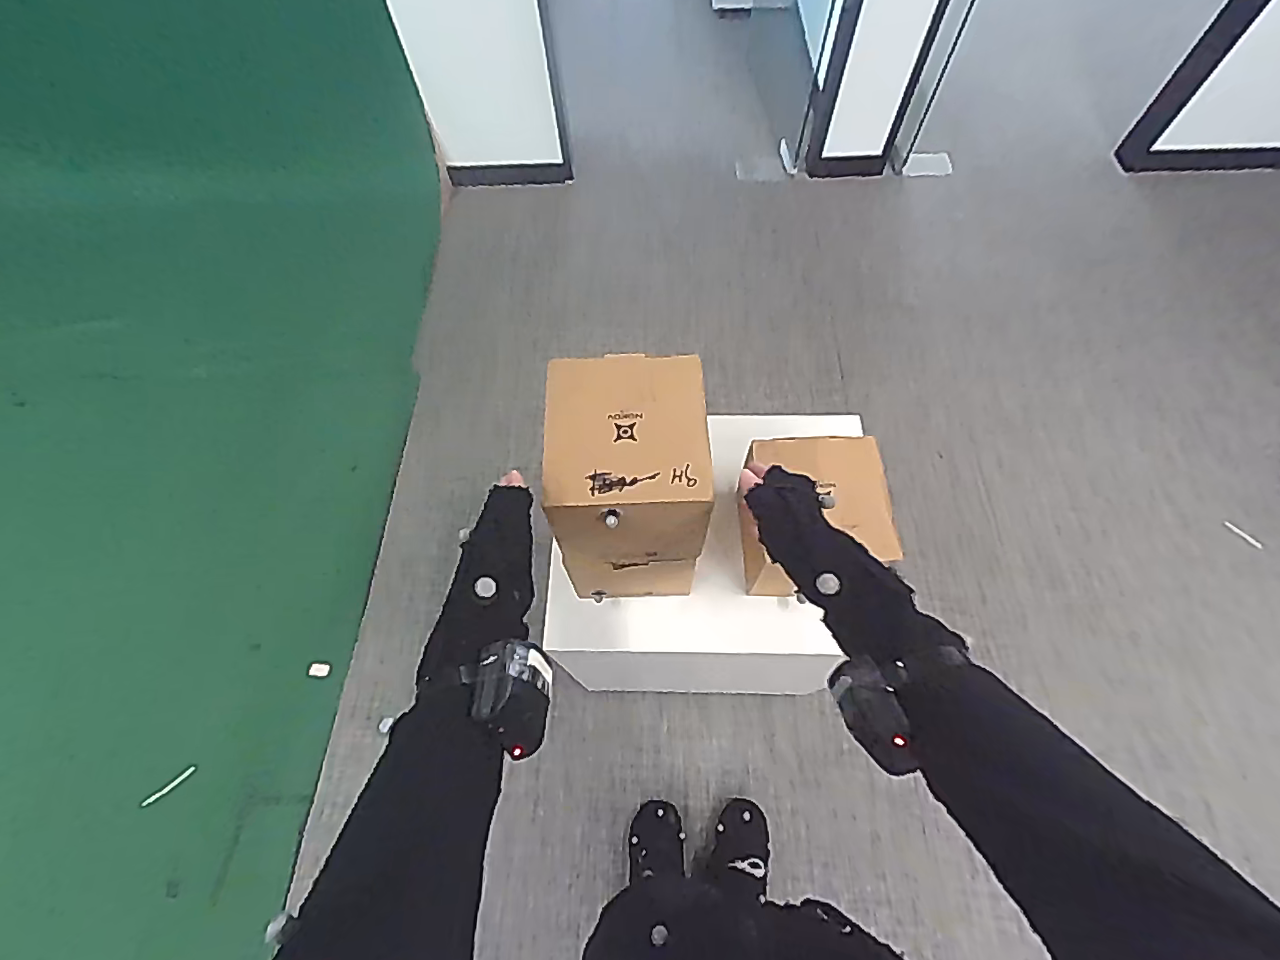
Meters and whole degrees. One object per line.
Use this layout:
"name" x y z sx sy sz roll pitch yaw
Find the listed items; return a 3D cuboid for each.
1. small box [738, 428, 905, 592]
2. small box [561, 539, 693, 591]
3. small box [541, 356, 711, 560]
"small box" 0.232 0.047 0.742 0.168 0.176 0.179 -3 65 2
"small box" -0.013 0.054 0.764 0.168 0.176 0.179 -2 62 1
"small box" -0.014 -0.019 0.620 0.168 0.176 0.179 -2 63 1
